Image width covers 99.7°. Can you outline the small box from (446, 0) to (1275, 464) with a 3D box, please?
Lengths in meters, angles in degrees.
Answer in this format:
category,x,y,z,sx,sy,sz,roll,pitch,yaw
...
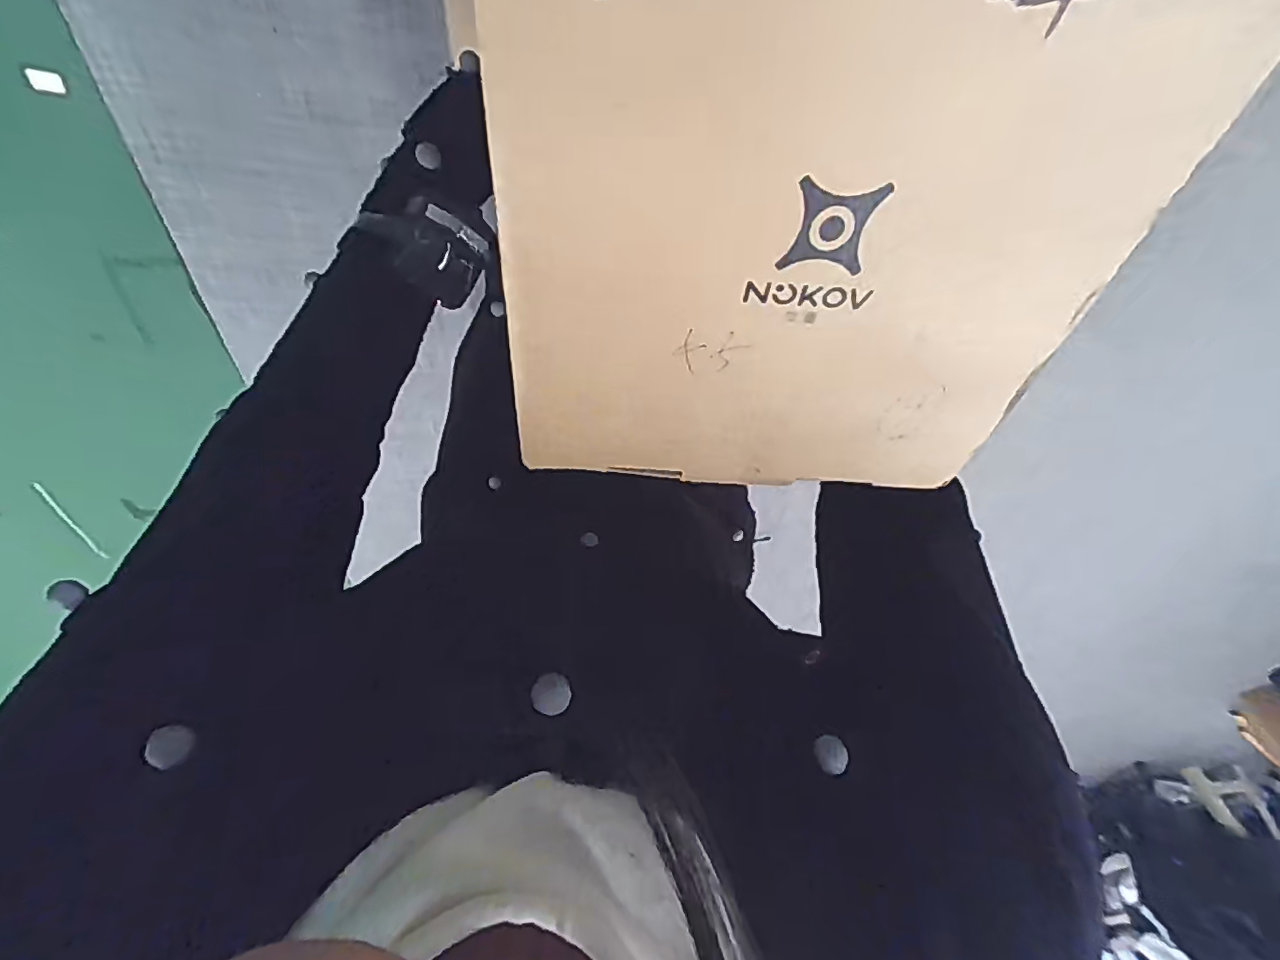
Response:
category,x,y,z,sx,sy,sz,roll,pitch,yaw
small box,0.039,-0.127,0.197,0.168,0.176,0.179,2,140,-4
